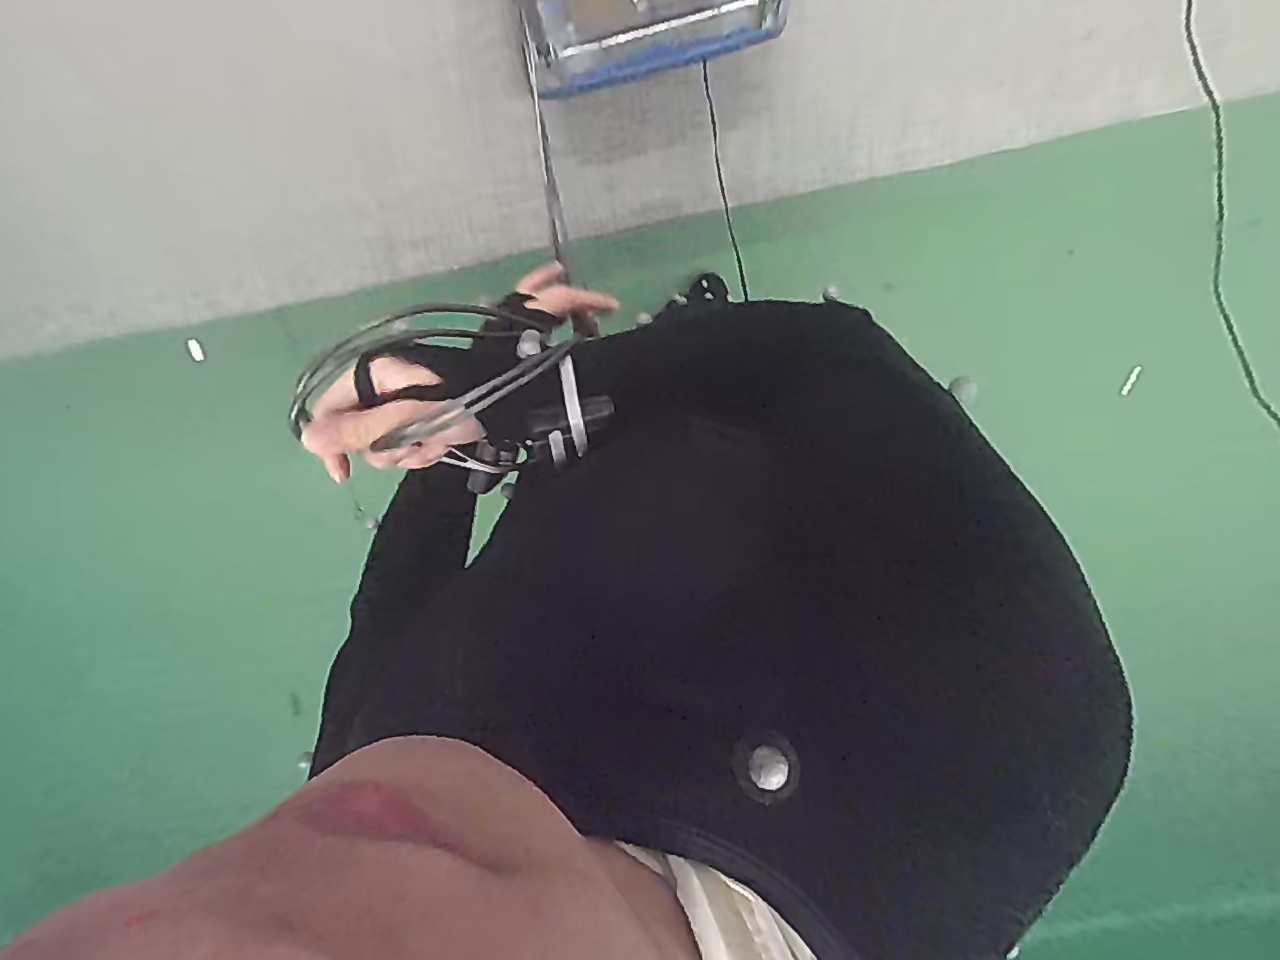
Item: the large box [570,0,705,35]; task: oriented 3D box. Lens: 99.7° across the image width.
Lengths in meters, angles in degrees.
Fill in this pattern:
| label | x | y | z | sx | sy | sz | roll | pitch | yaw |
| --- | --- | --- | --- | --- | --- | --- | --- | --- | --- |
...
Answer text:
| label | x | y | z | sx | sy | sz | roll | pitch | yaw |
| --- | --- | --- | --- | --- | --- | --- | --- | --- | --- |
| large box | -0.030 | -1.132 | 0.965 | 0.320 | 0.320 | 0.408 | -12 | 107 | 2 |
